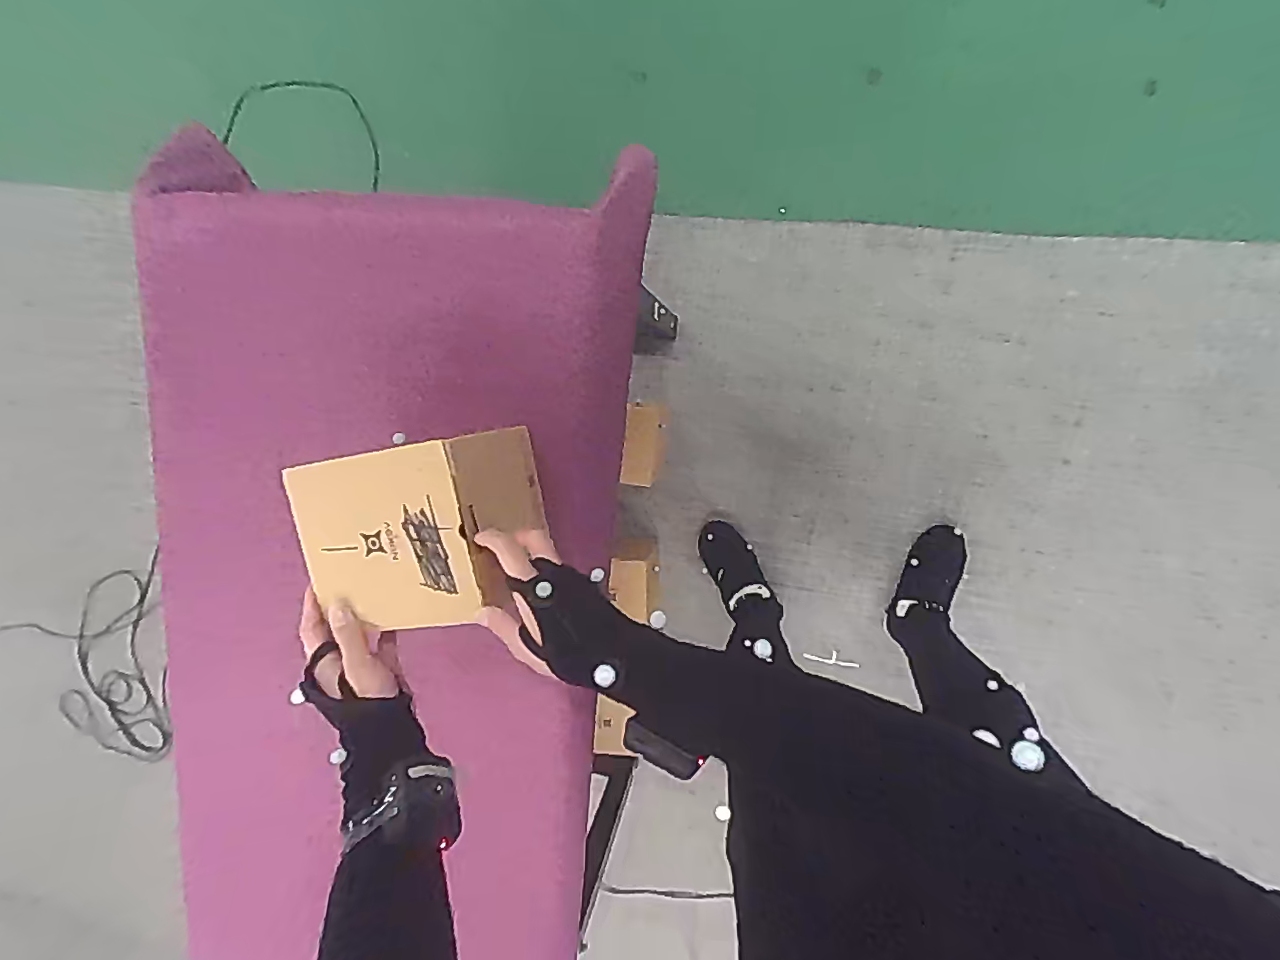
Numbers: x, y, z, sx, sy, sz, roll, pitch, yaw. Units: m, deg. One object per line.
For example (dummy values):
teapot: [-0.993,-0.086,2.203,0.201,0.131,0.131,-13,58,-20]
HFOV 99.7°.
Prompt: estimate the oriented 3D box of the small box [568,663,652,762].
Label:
small box: [-0.066,0.571,1.347,0.179,0.176,0.168,-1,98,12]

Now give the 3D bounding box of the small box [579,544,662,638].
small box: [-0.043,0.258,1.299,0.168,0.176,0.179,1,99,13]

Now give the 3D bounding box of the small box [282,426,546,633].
small box: [-0.209,0.040,0.552,0.179,0.176,0.168,-8,96,14]

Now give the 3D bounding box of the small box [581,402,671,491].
small box: [-0.027,-0.083,1.247,0.168,0.176,0.179,8,99,11]
